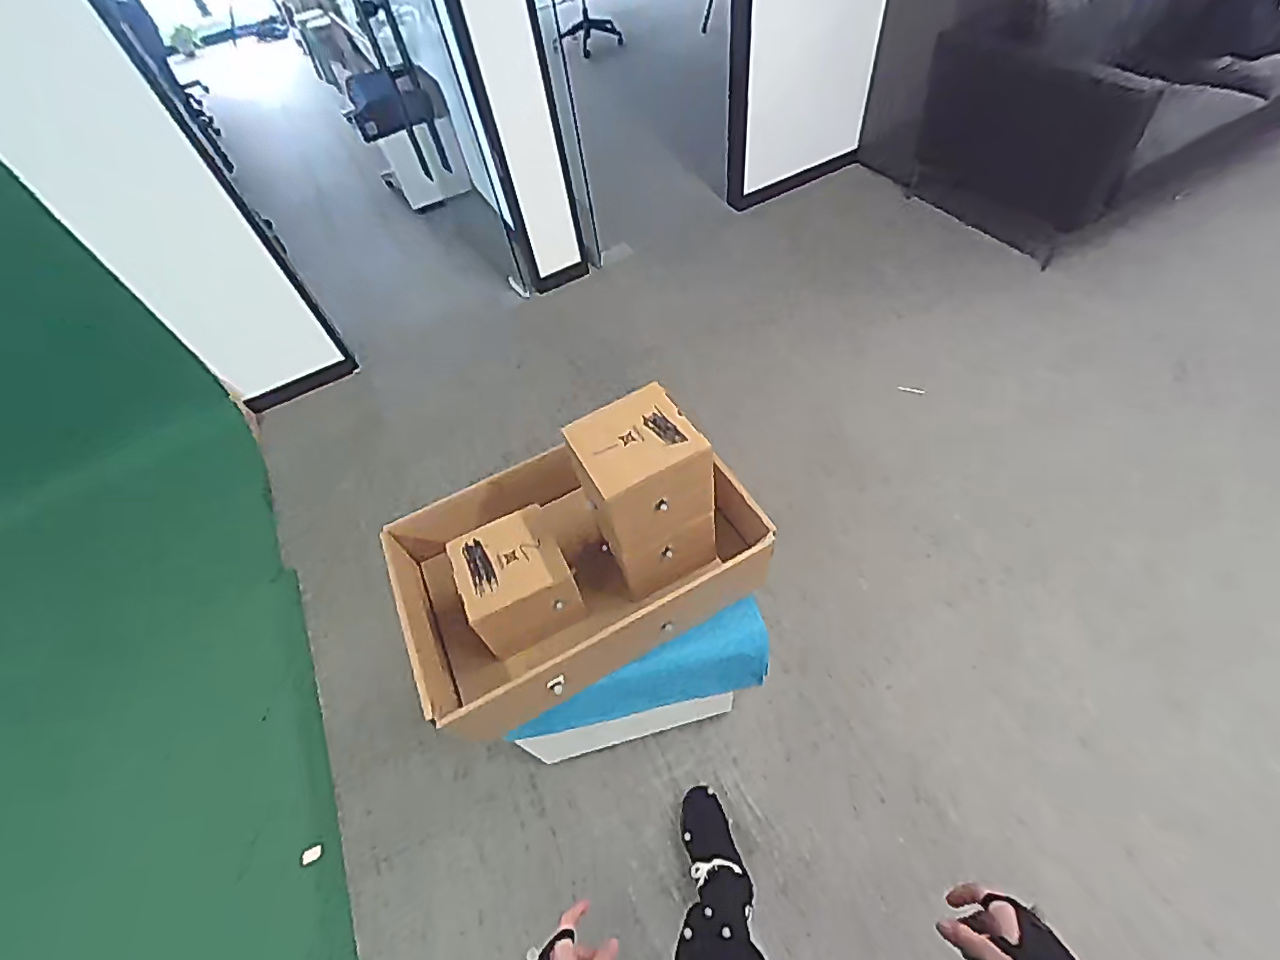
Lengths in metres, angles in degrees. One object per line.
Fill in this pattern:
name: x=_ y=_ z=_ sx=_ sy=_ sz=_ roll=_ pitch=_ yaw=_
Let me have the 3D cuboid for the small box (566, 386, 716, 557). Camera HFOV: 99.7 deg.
small box: x=0.006 y=-0.011 z=0.862 sx=0.179 sy=0.176 sz=0.168 roll=-27 pitch=53 yaw=-10
